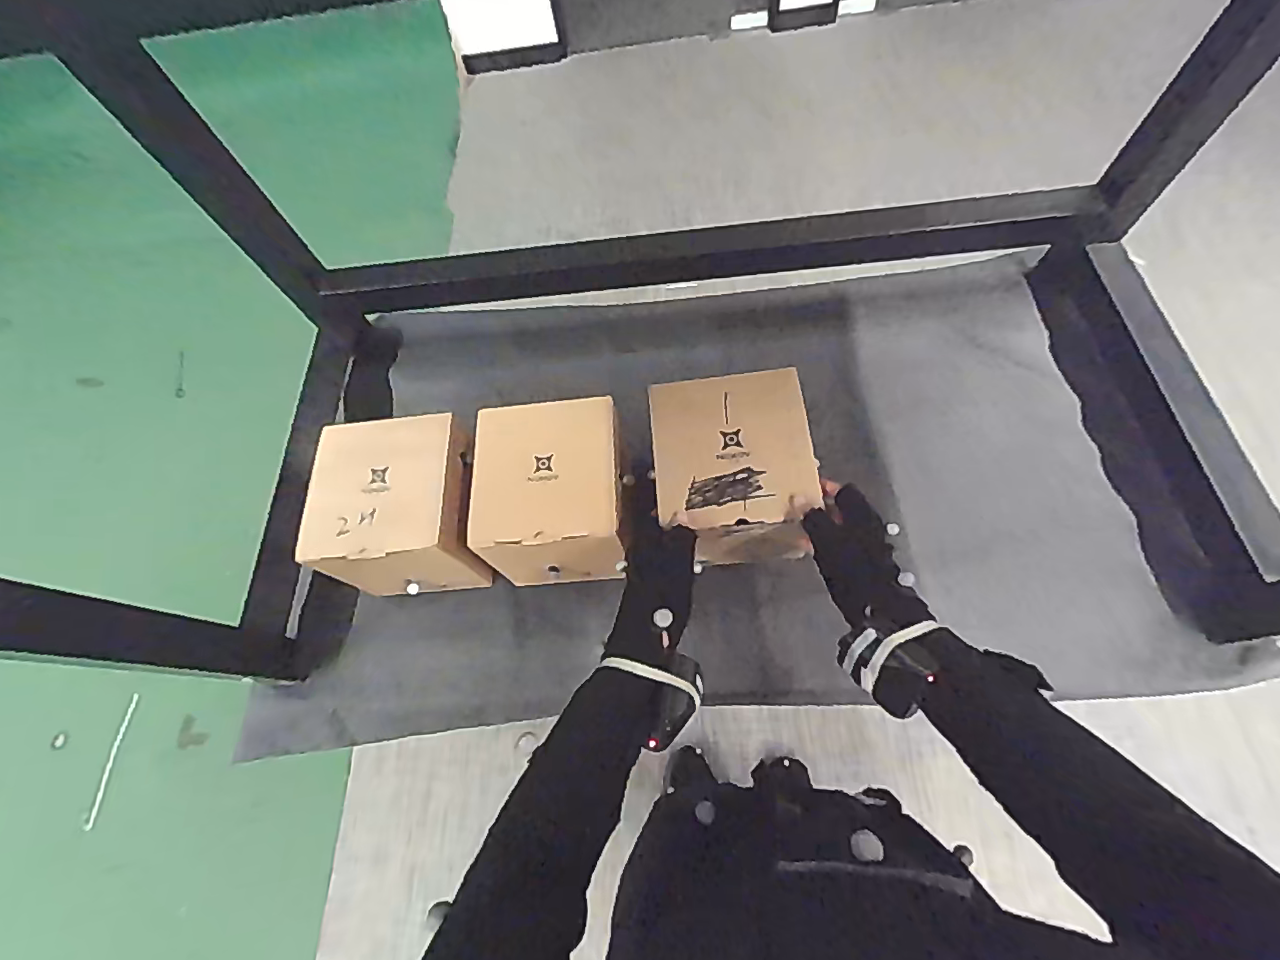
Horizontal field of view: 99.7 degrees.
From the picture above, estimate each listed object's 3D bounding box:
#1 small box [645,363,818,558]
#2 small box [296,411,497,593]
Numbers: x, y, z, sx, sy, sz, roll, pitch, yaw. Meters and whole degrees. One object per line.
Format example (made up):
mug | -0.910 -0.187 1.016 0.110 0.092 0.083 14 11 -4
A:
small box | 0.103 -0.010 0.639 0.168 0.176 0.179 -7 67 6
small box | -0.292 0.035 0.694 0.168 0.176 0.179 -6 65 5
